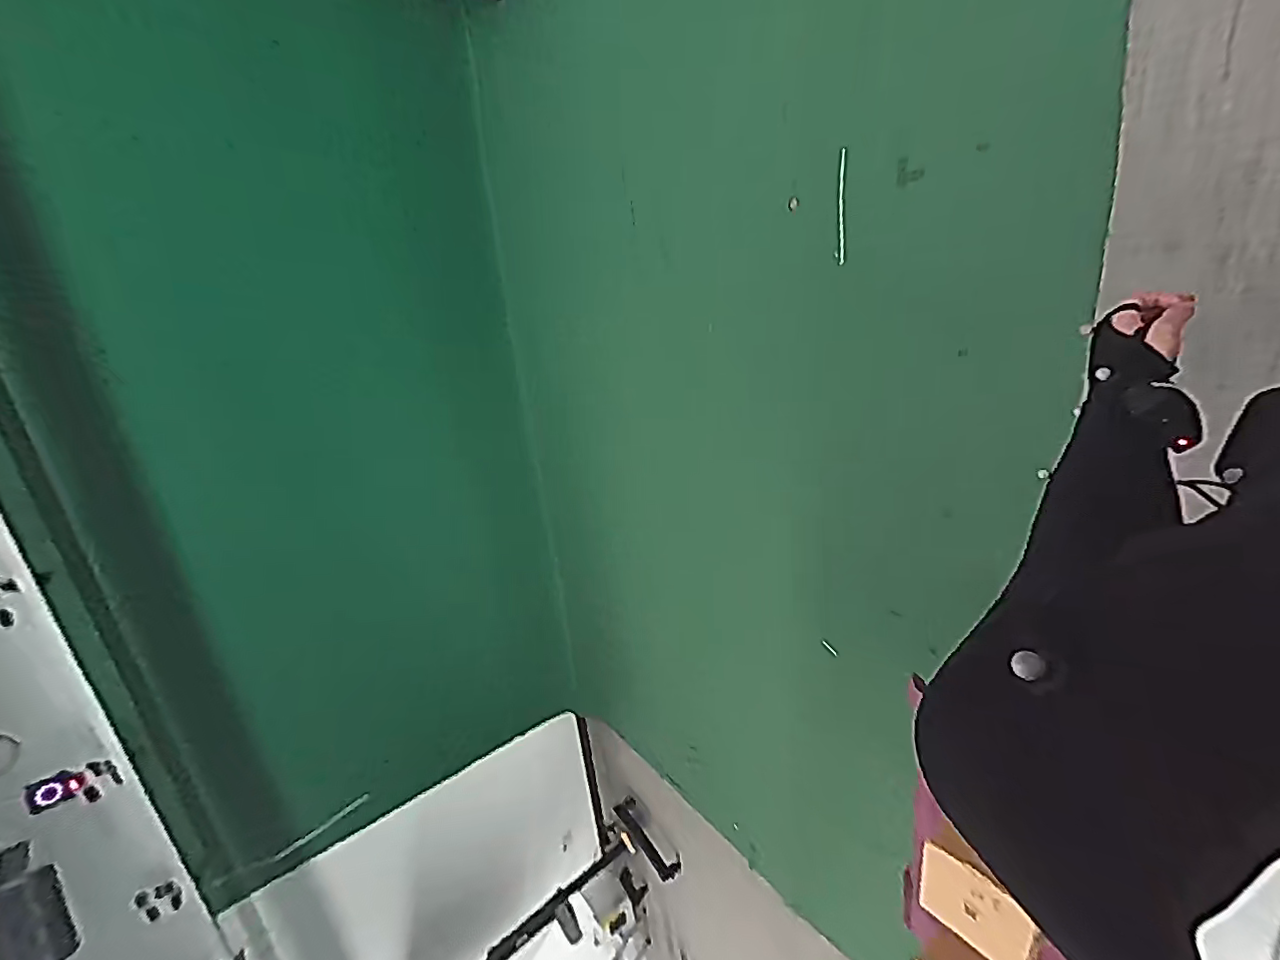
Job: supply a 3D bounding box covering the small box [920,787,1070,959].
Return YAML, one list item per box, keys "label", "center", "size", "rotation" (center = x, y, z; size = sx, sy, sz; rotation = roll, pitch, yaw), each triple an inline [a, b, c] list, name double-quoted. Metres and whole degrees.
- label: "small box"
  center: [0.616, 0.691, 0.941]
  size: [0.168, 0.176, 0.179]
  rotation: [18, 121, 49]
